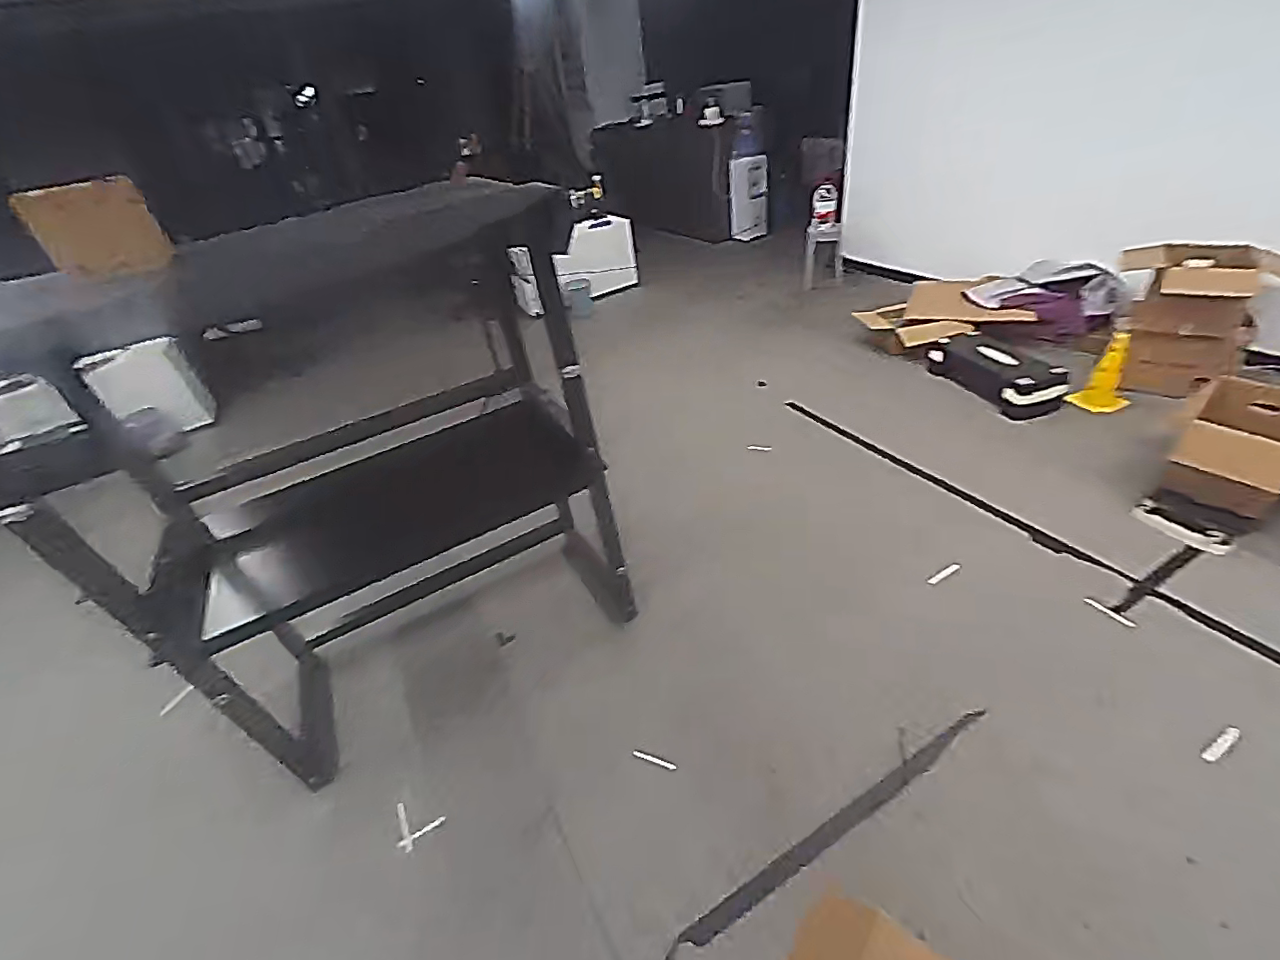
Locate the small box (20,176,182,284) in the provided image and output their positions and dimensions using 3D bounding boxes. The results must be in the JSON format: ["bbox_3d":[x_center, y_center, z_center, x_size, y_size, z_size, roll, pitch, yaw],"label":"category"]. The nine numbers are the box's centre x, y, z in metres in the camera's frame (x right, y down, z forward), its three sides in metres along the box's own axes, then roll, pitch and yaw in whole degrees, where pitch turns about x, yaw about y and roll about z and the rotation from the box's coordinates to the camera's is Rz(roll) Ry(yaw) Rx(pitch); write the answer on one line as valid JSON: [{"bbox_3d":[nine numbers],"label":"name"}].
[{"bbox_3d":[-1.125,-0.530,1.150,0.168,0.176,0.179,-24,38,-18],"label":"small box"}]
